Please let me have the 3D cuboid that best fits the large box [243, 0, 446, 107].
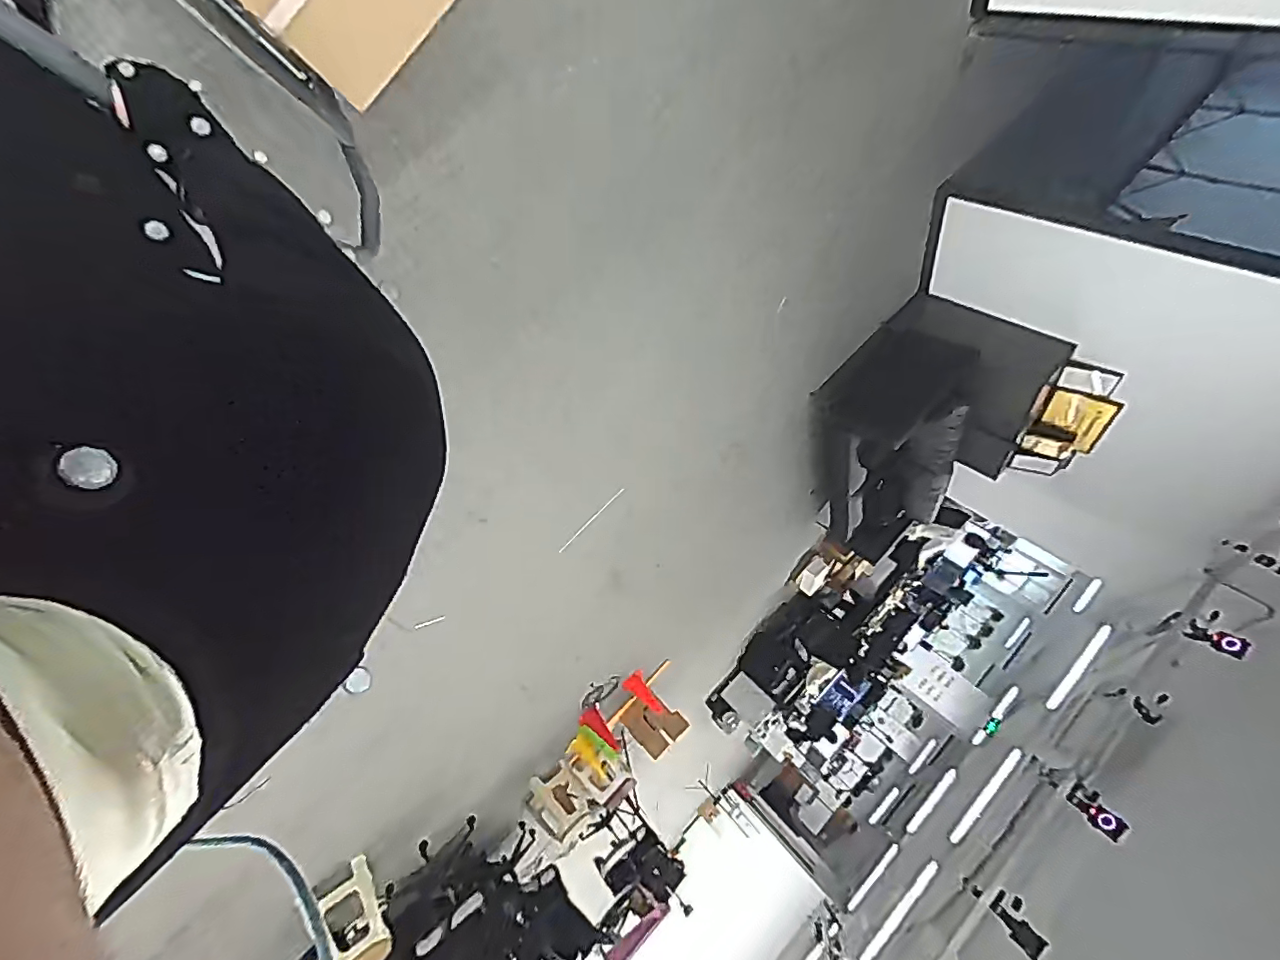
[{"bbox_3d":[-0.490,-0.920,0.851,0.408,0.320,0.320,-43,149,11],"label":"large box"}]
